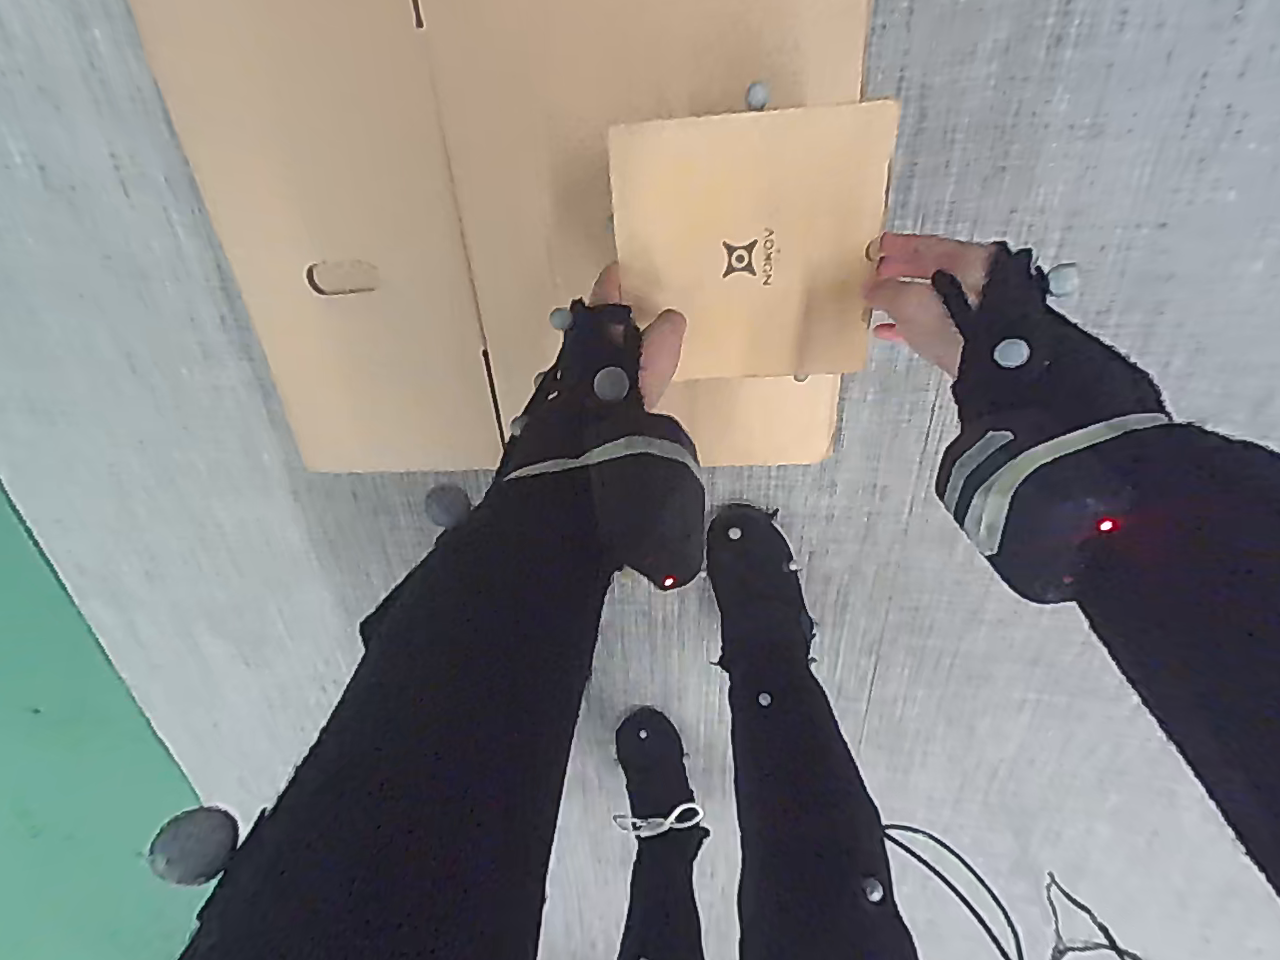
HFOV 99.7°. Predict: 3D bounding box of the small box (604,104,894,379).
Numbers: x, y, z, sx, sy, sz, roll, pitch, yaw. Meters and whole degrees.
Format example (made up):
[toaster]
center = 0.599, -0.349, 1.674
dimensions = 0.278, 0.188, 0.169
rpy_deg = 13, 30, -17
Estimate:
[small box]
center = 0.073, -0.185, 0.432
dimensions = 0.179, 0.176, 0.168
rpy_deg = -2, 118, 4
